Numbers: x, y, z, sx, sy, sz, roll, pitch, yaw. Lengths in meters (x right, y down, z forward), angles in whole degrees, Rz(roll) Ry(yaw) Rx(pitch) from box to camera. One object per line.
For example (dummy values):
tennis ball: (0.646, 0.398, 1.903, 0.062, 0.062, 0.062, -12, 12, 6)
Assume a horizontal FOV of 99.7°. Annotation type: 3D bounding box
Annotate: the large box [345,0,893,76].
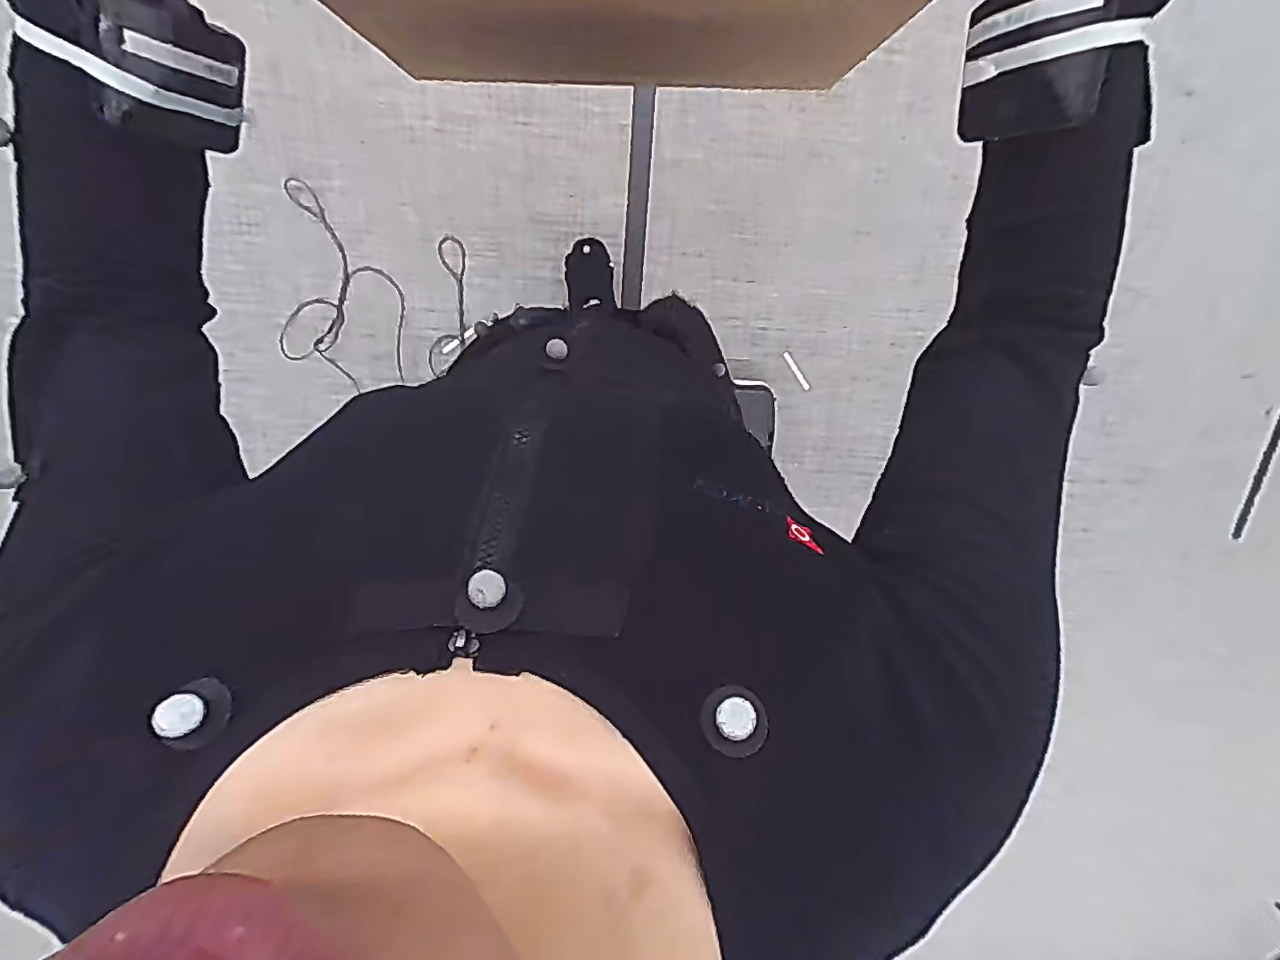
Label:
large box: (-0.015, -0.477, 0.324, 0.408, 0.320, 0.320, 0, 113, -1)
